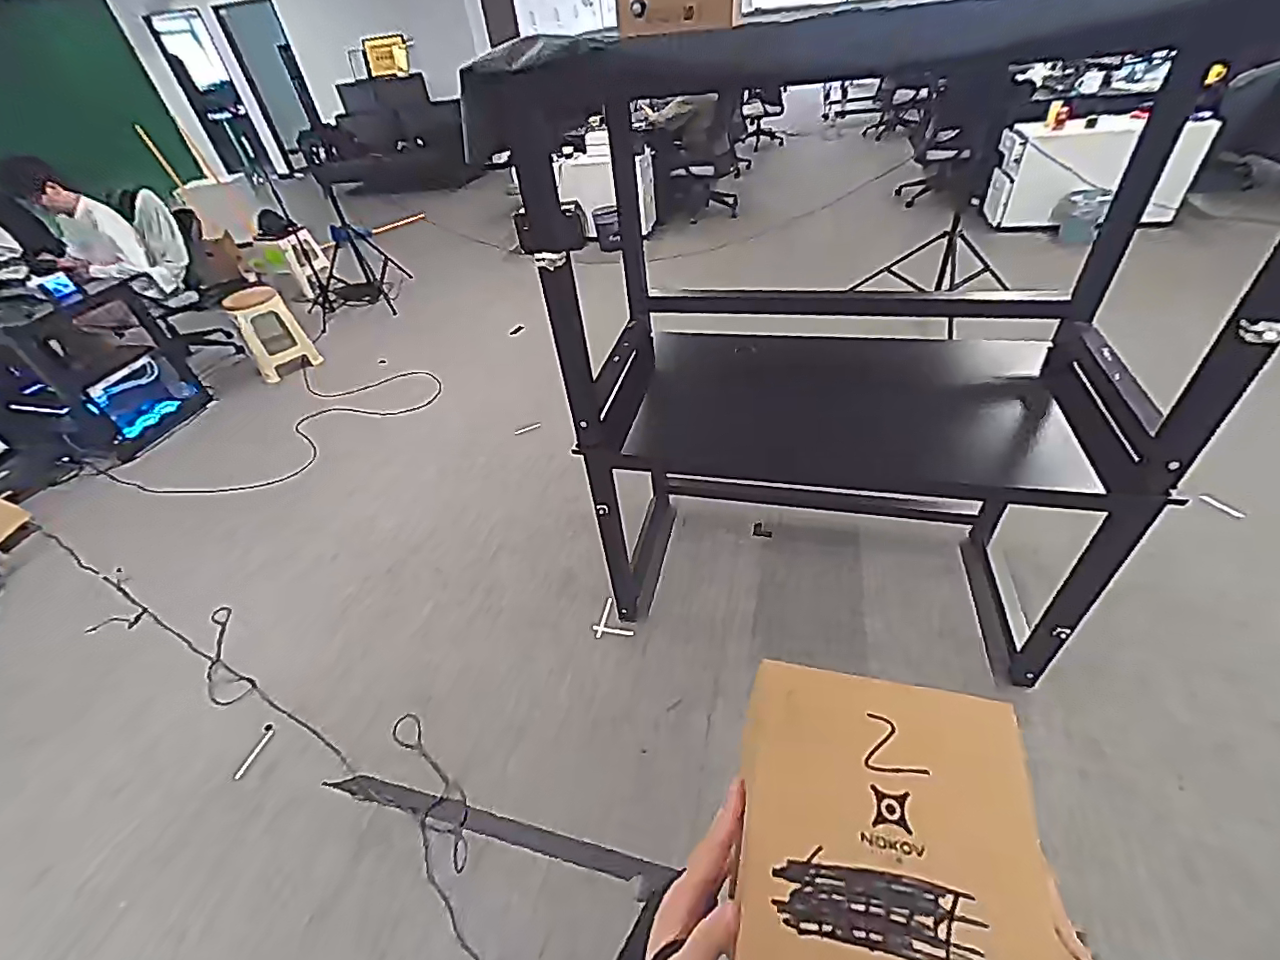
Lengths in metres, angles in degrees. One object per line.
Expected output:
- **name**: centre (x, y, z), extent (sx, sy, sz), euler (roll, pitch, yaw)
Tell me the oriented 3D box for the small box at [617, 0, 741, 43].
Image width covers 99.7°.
- **small box**: centre (0.059, -0.740, 0.772), extent (0.168, 0.176, 0.179), euler (5, 40, 12)
